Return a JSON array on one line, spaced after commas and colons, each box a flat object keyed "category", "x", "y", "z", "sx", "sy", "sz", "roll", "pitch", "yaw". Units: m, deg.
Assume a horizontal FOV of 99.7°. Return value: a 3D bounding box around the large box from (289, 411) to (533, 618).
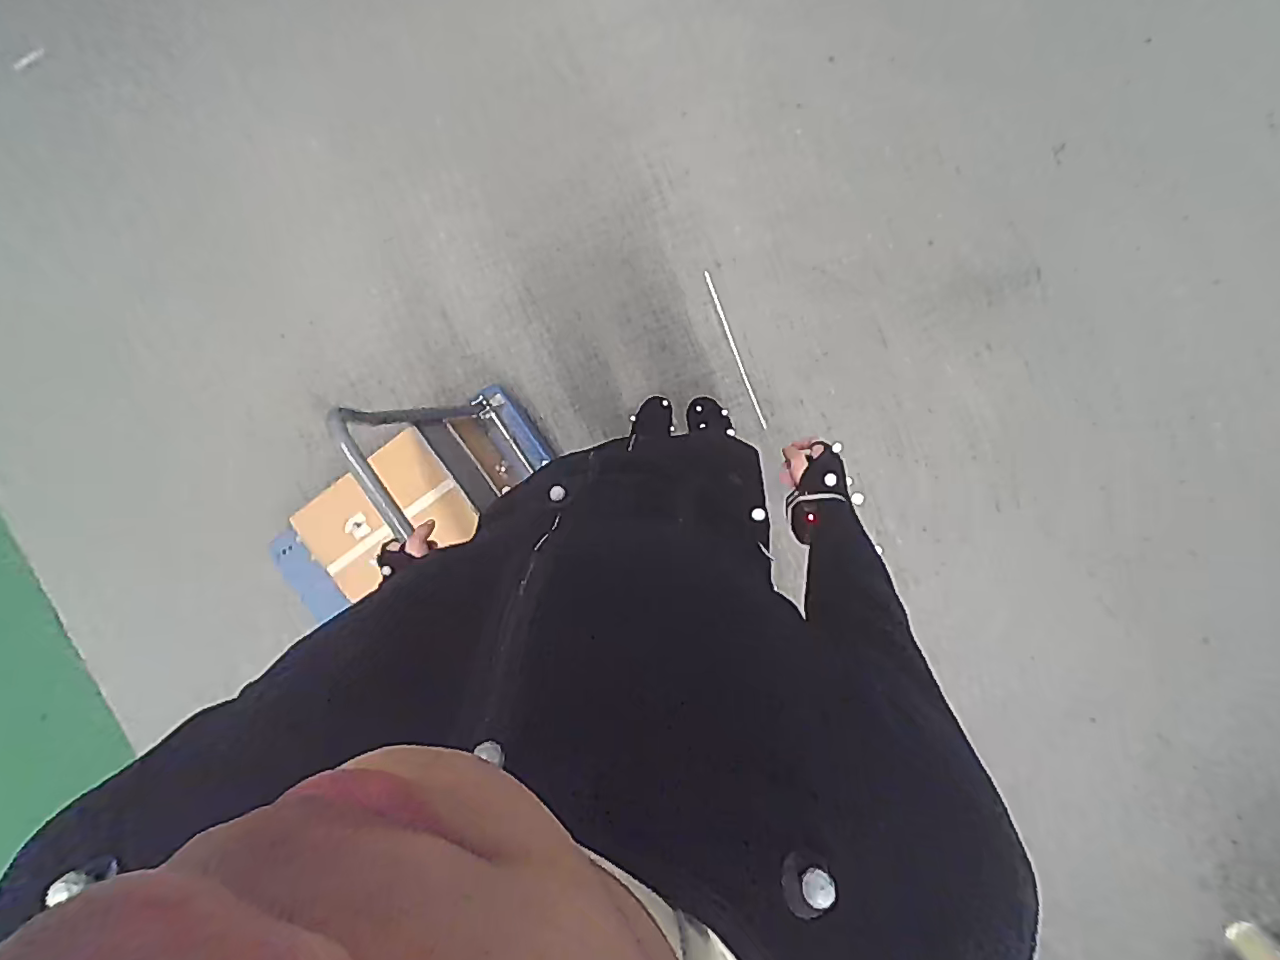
[{"category": "large box", "x": -0.549, "y": 0.067, "z": 1.368, "sx": 0.408, "sy": 0.320, "sz": 0.320, "roll": -33, "pitch": 95, "yaw": 10}]
